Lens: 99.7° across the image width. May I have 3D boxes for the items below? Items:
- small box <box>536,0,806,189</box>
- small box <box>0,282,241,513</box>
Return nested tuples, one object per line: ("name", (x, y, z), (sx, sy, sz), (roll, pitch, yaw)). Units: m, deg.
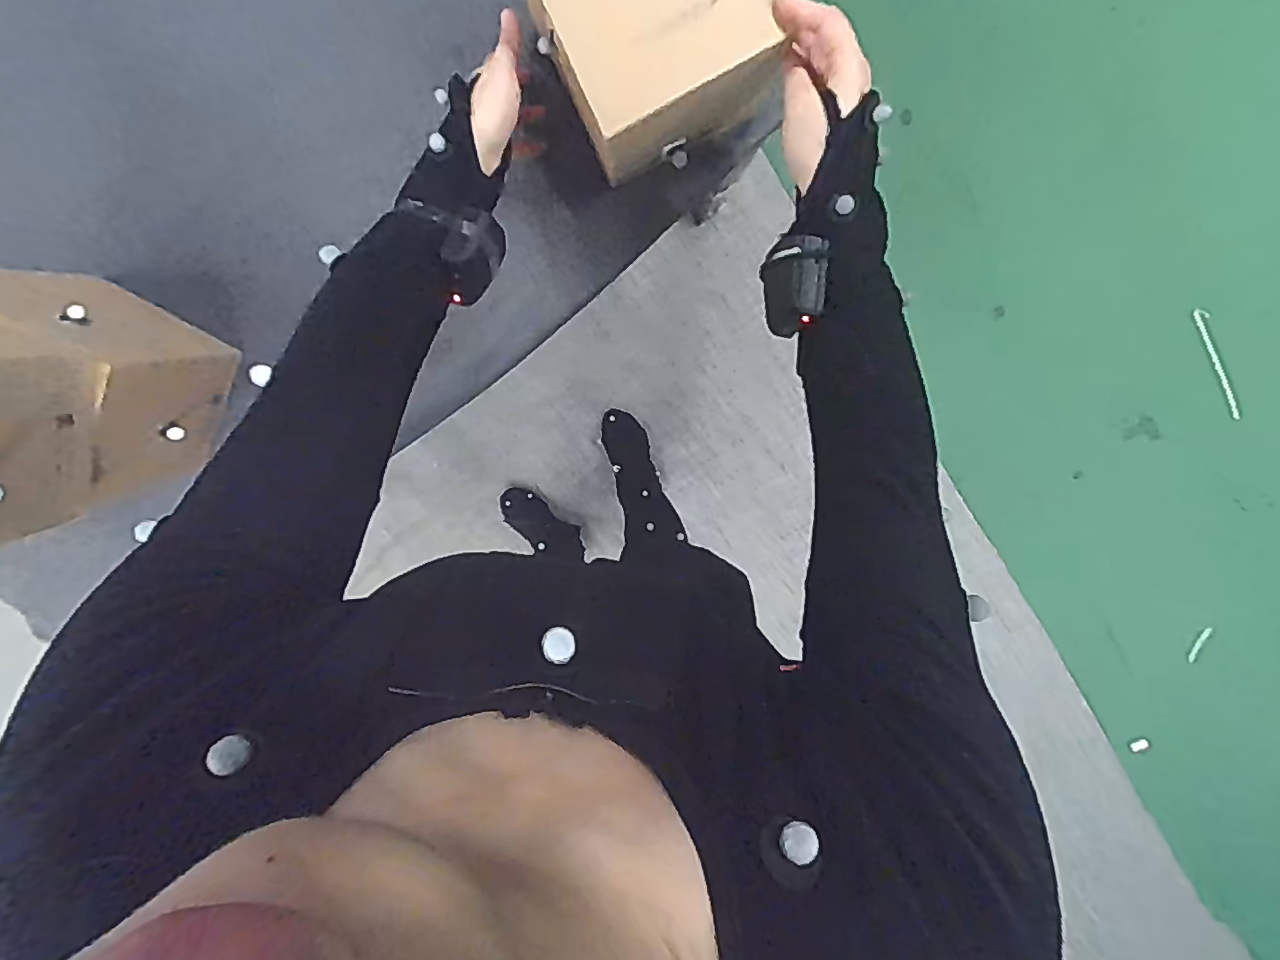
("small box", (0.013, -0.387, 0.463), (0.168, 0.176, 0.179), (-25, 105, 7))
("small box", (-0.579, -0.098, 0.573), (0.179, 0.176, 0.168), (29, 105, -7))
